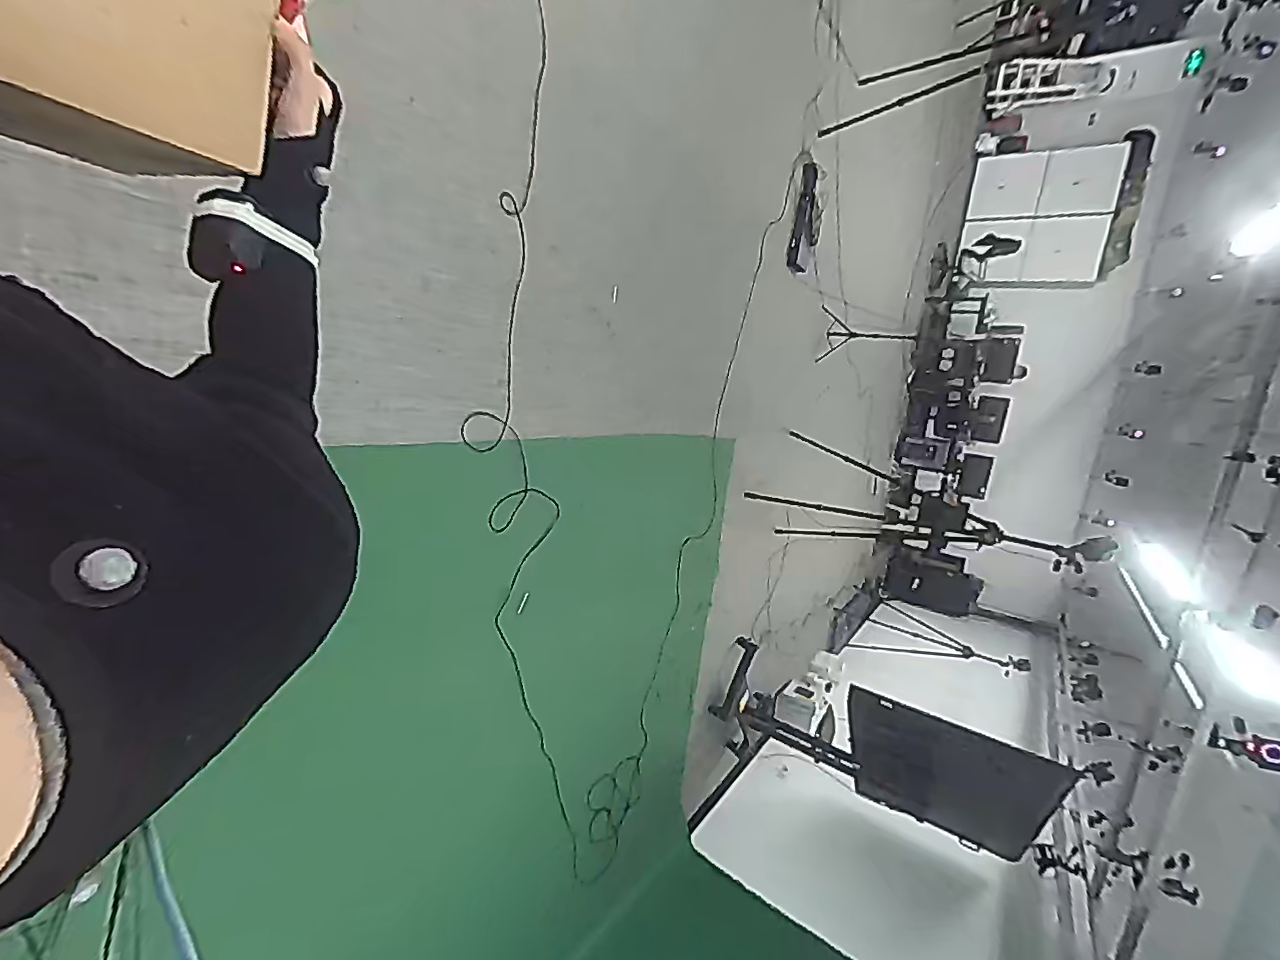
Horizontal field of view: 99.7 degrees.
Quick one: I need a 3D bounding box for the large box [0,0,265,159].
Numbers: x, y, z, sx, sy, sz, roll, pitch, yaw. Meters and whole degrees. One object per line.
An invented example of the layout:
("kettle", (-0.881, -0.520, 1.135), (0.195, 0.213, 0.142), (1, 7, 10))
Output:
("large box", (-0.519, -0.444, 0.334), (0.408, 0.320, 0.320), (-6, 112, -57))
